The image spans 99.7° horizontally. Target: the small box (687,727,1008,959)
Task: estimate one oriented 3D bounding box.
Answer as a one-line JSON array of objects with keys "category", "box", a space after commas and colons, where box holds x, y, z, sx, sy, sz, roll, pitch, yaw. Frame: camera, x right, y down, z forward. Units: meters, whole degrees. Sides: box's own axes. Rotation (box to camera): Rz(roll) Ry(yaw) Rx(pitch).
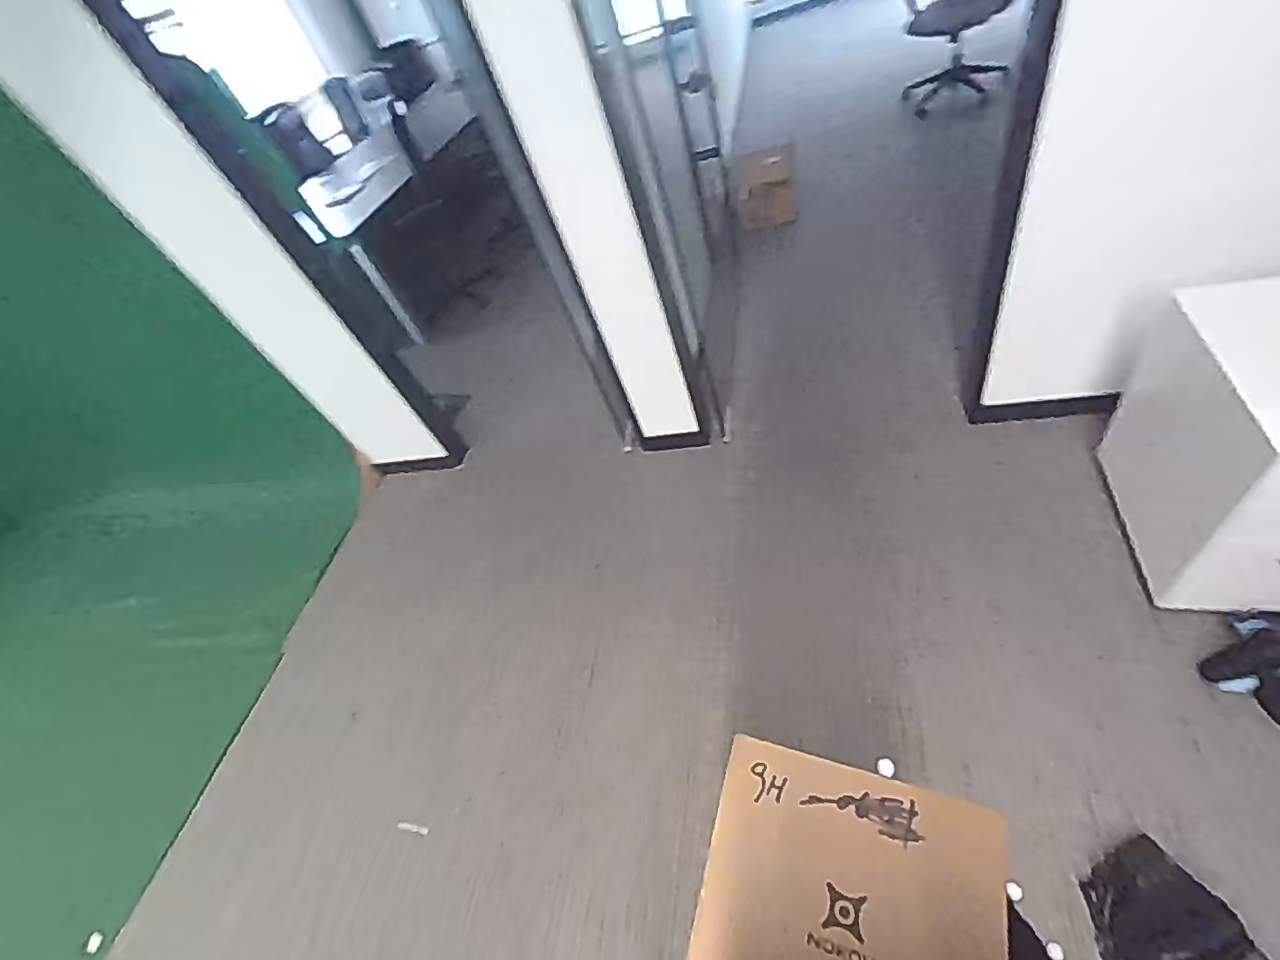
[{"category": "small box", "box": [0.139, 0.299, 0.373, 0.168, 0.176, 0.179, 6, 58, 23]}]
